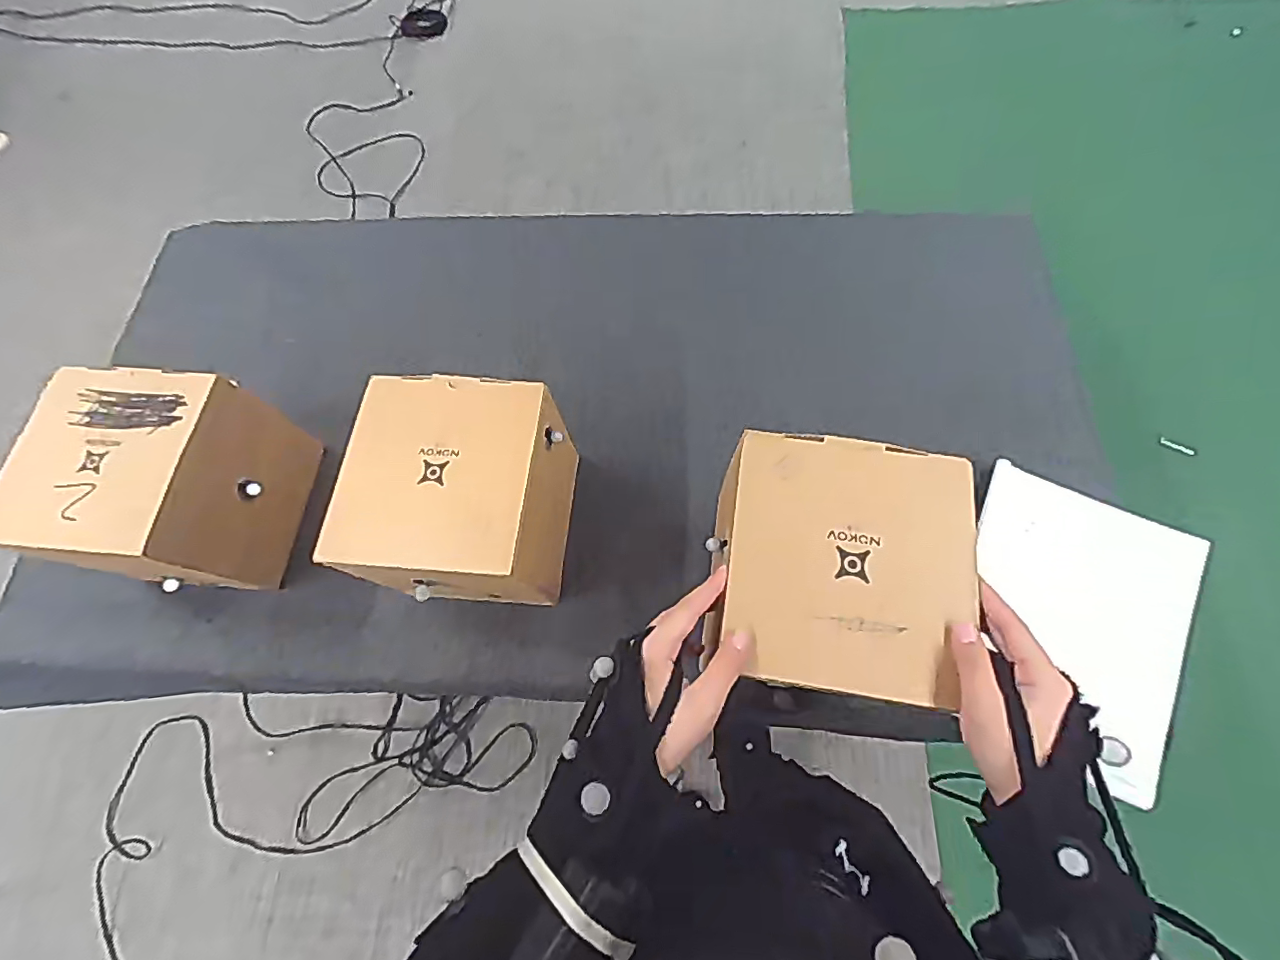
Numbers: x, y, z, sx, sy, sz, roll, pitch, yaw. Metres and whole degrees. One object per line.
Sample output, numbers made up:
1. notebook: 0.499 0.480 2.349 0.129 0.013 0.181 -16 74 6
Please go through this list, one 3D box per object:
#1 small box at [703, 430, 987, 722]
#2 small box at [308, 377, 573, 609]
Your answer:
1. small box: 0.145 0.081 0.435 0.168 0.176 0.179 8 71 5
2. small box: -0.167 0.022 0.519 0.168 0.176 0.179 3 68 6
